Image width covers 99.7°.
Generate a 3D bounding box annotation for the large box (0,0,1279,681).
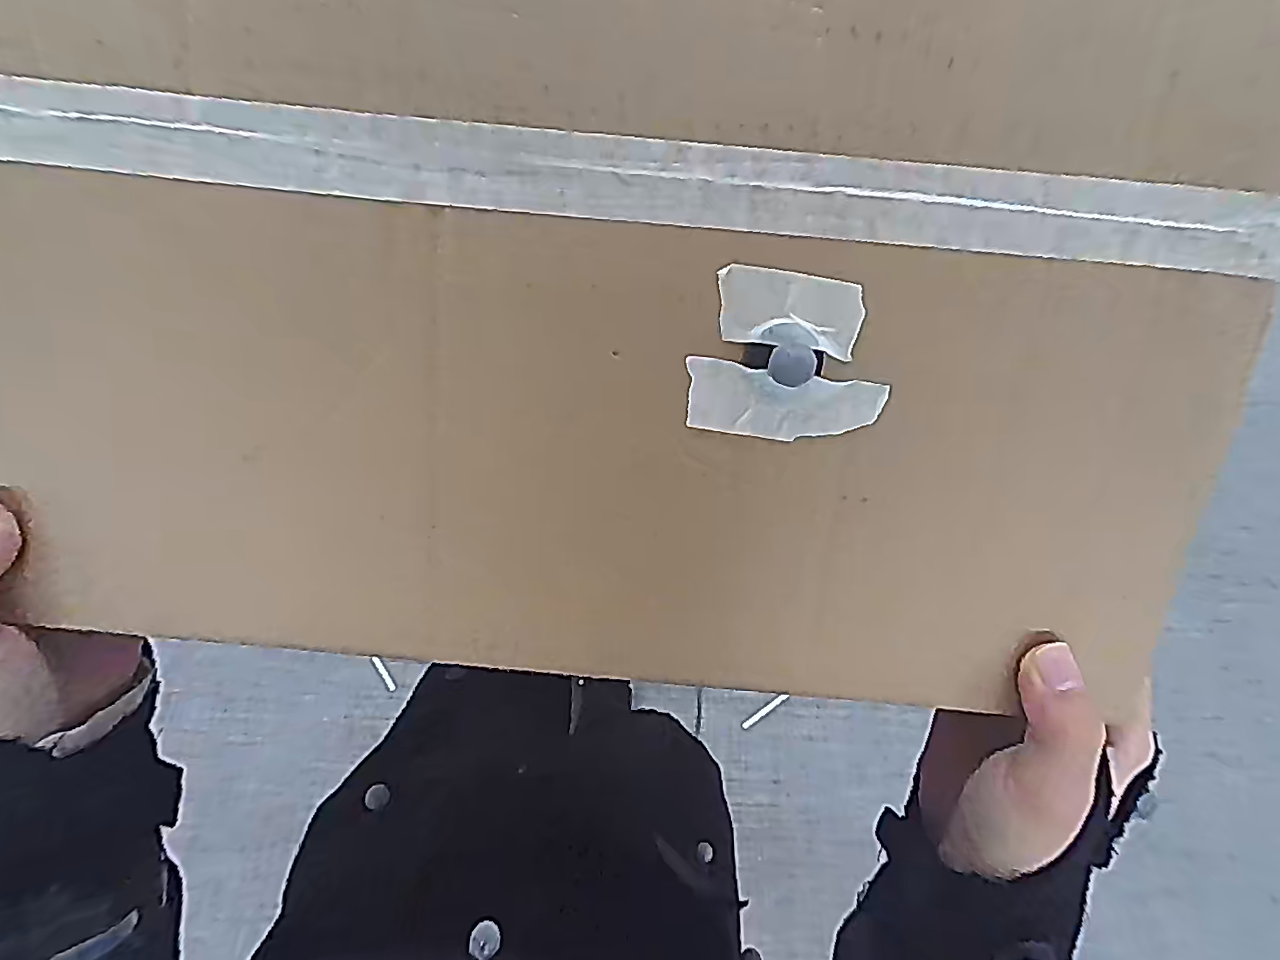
[{"bbox_3d":[-0.016,-0.117,0.312,0.408,0.320,0.320,5,103,-1],"label":"large box"}]
